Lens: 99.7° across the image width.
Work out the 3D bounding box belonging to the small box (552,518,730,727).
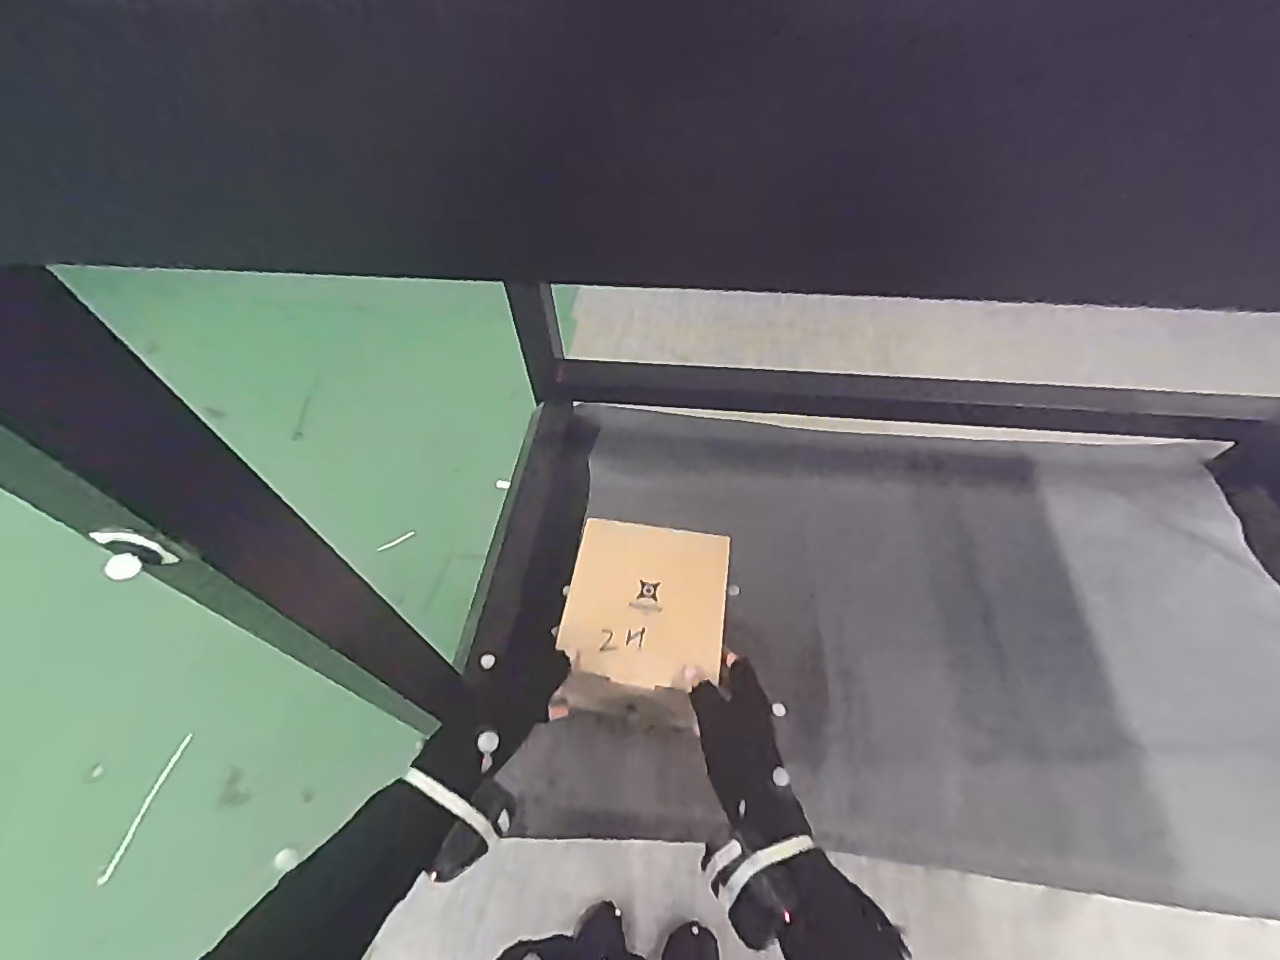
[{"bbox_3d":[0.007,0.171,0.637,0.168,0.176,0.179,8,56,6],"label":"small box"}]
